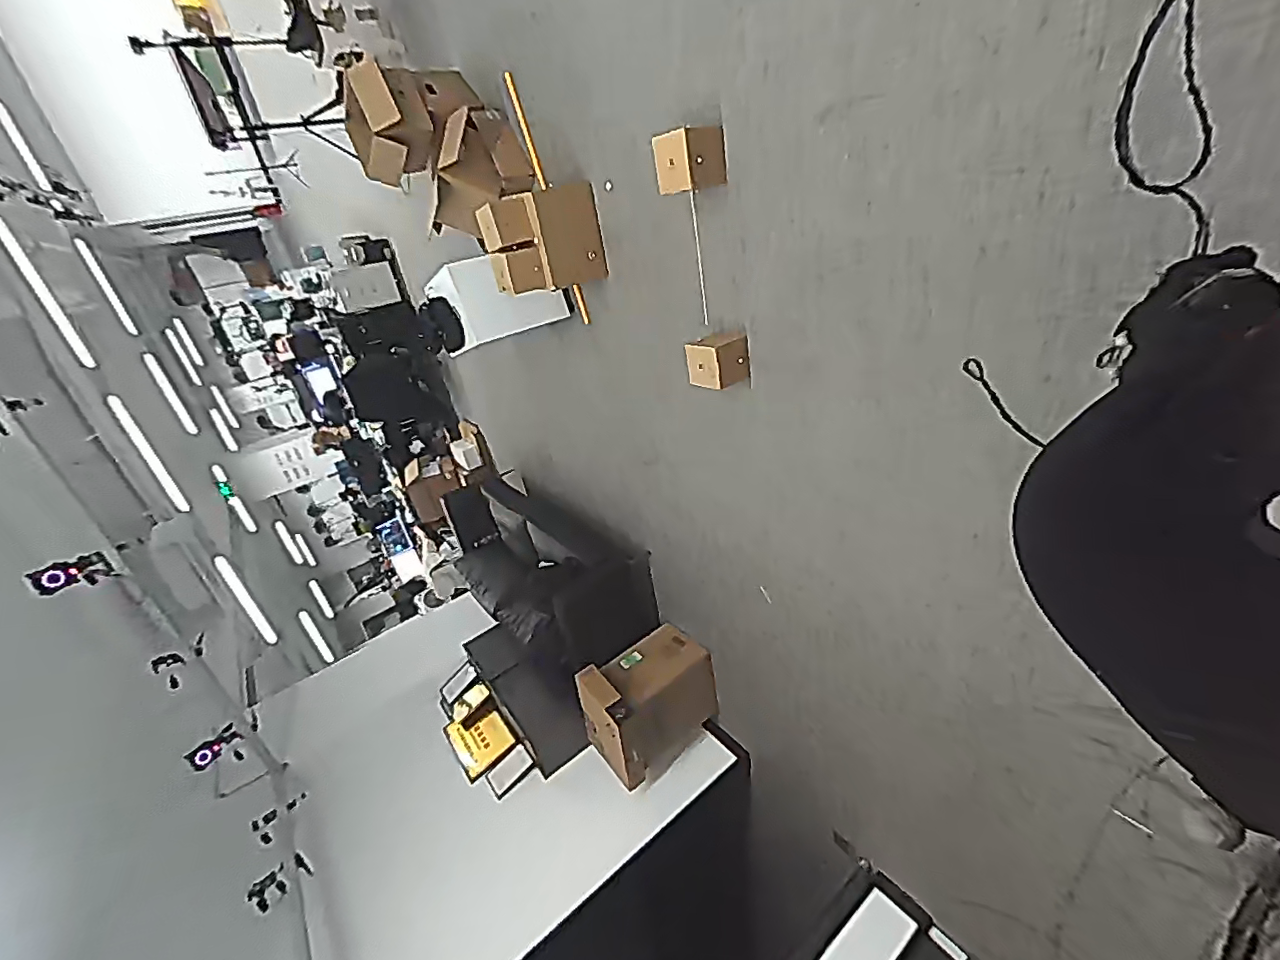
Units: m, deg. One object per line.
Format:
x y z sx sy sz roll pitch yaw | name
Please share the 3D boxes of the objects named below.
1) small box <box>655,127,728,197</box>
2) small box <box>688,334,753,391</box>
0.176 -1.064 1.808 0.168 0.176 0.179 24 135 49 | small box
0.314 -0.463 2.106 0.179 0.176 0.168 24 134 50 | small box
